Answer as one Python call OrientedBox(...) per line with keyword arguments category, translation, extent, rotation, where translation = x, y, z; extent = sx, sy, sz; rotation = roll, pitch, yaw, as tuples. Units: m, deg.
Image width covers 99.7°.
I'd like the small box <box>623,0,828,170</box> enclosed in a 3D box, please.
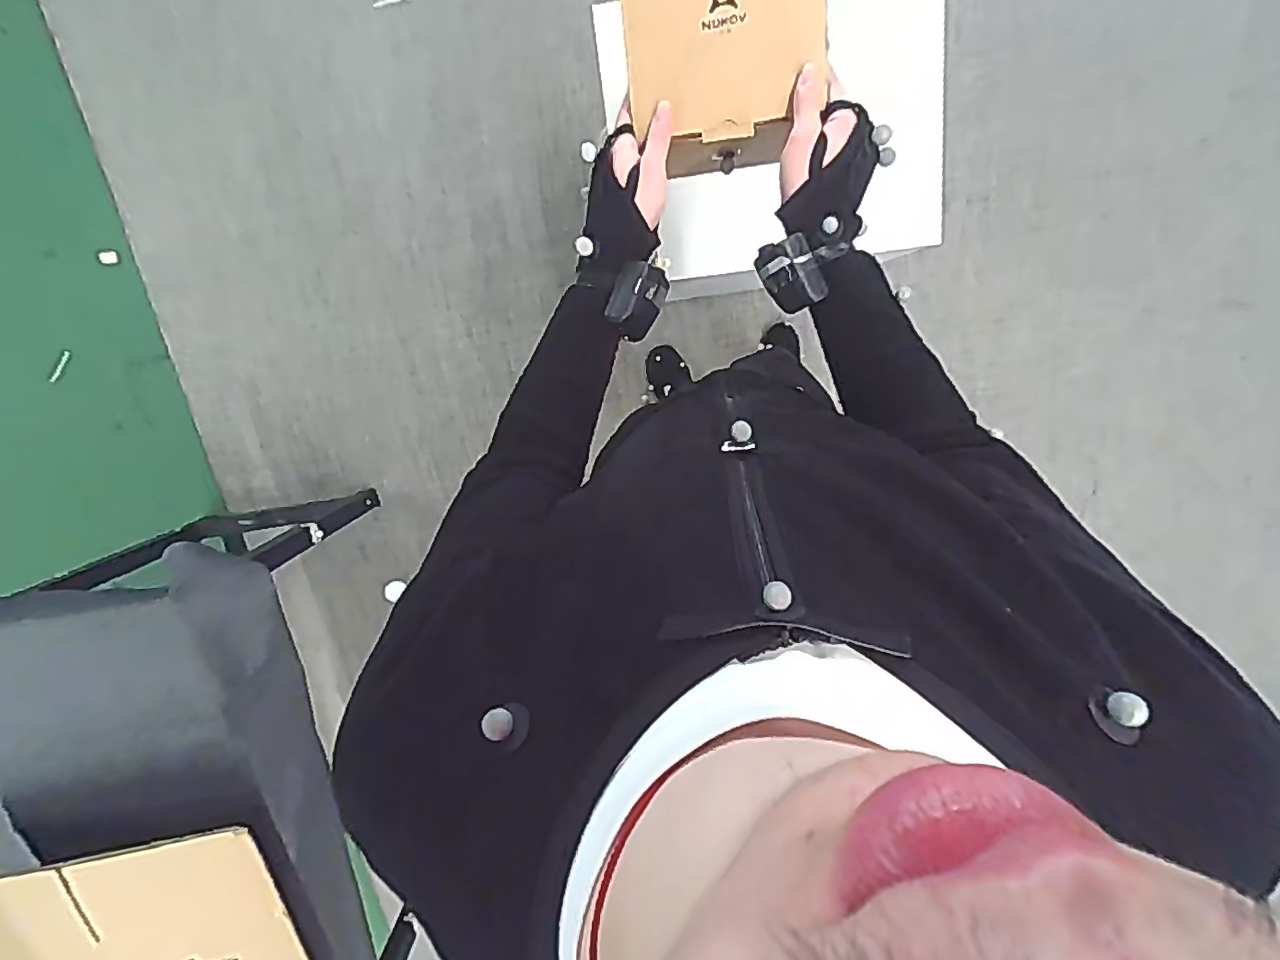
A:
OrientedBox(category="small box", translation=(0.081, -0.414, 0.516), extent=(0.168, 0.176, 0.179), rotation=(-5, 108, 11))
